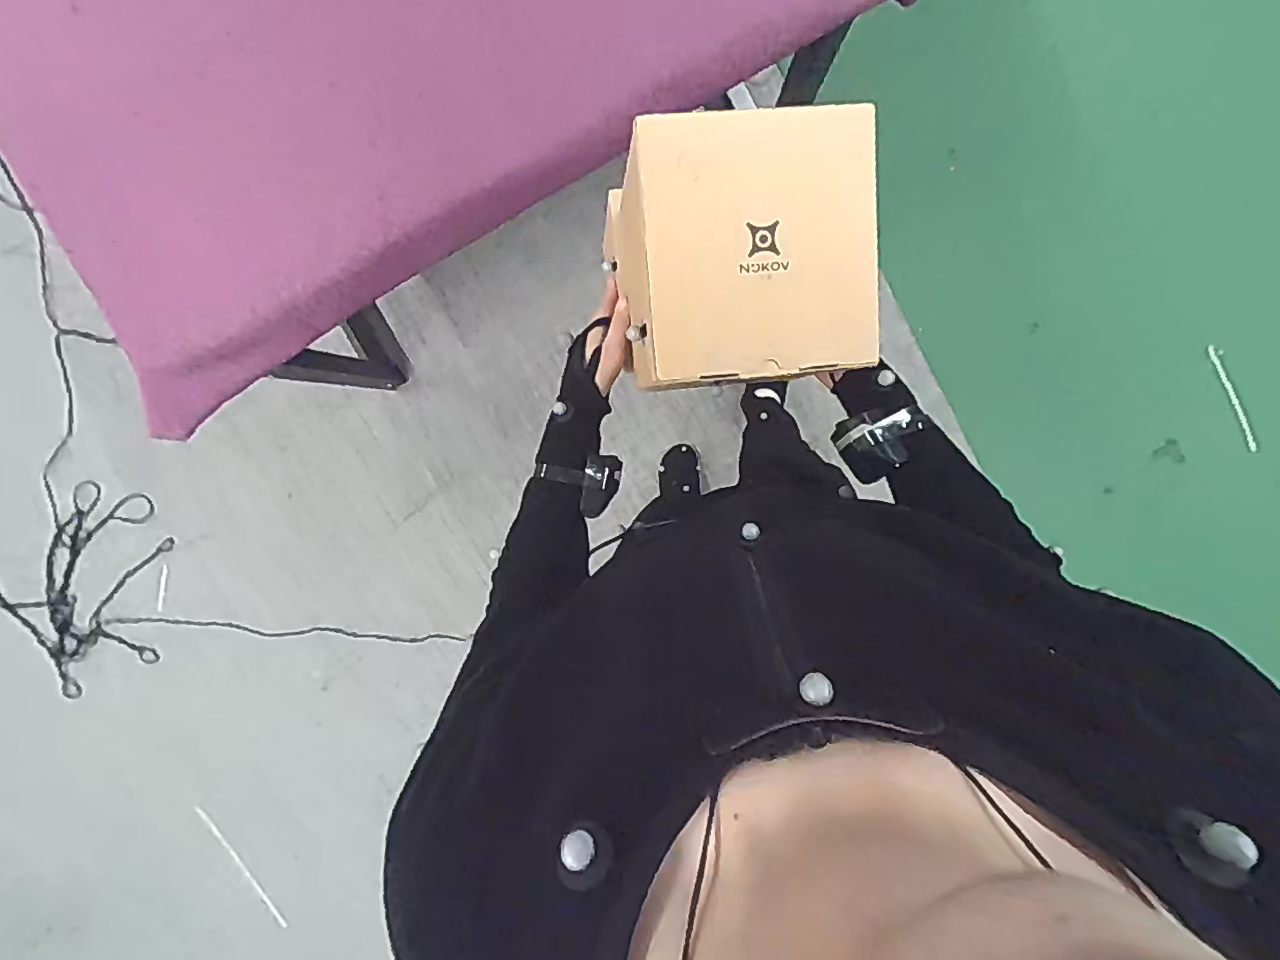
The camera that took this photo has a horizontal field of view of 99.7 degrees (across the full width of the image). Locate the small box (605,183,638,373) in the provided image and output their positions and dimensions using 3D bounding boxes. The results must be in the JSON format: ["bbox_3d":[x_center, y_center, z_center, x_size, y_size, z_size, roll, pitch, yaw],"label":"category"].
[{"bbox_3d":[0.059,-0.215,0.600,0.179,0.176,0.168,-7,97,-4],"label":"small box"}]

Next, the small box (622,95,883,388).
[{"bbox_3d":[0.076,-0.172,0.441,0.168,0.176,0.179,-6,98,-4],"label":"small box"}]
